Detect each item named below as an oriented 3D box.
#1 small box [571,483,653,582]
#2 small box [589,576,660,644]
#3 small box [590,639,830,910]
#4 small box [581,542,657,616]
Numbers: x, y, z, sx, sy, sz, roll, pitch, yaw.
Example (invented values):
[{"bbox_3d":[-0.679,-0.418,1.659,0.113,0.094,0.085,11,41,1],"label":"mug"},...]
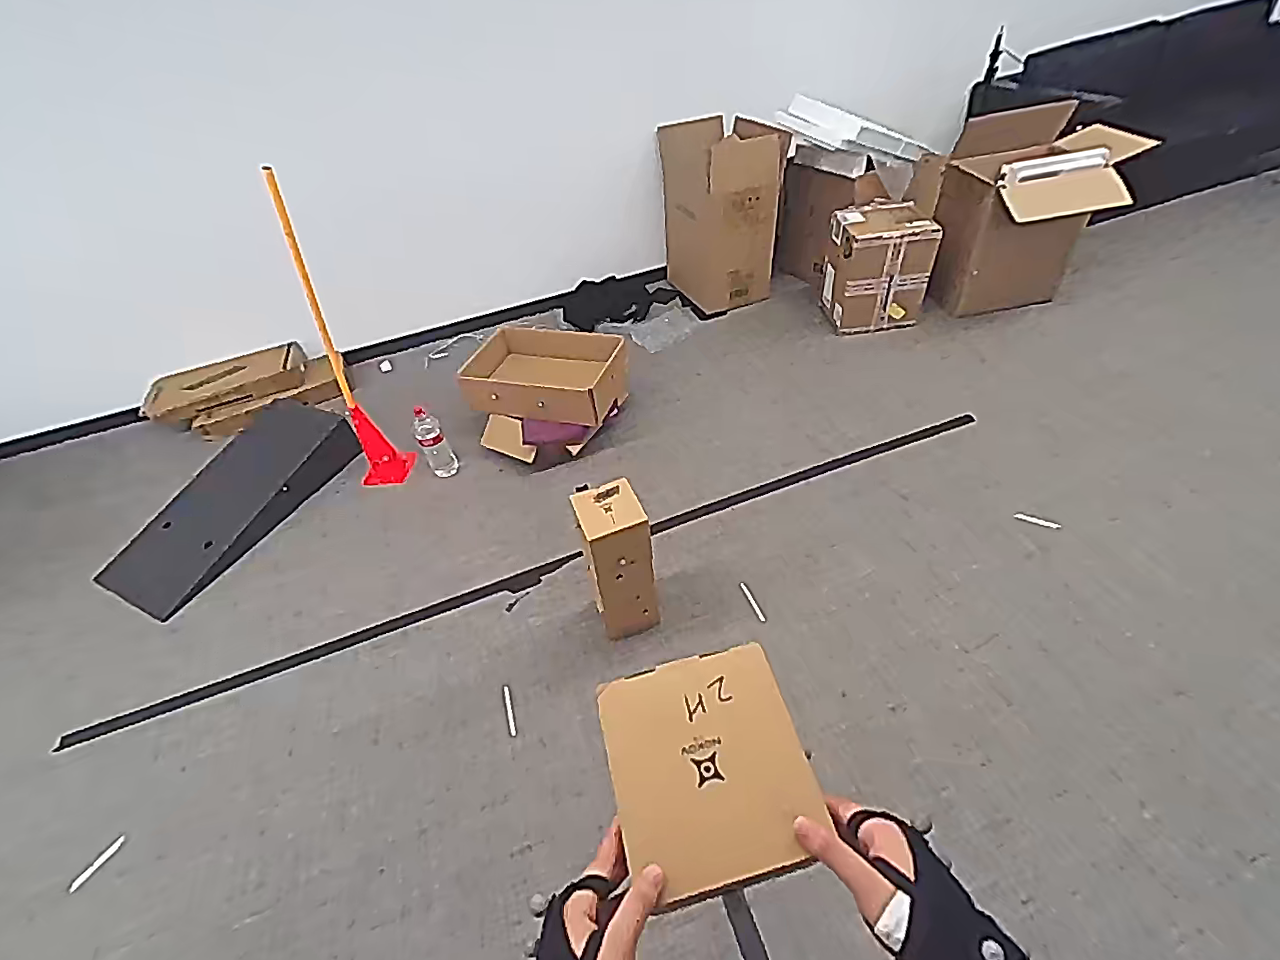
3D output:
[{"bbox_3d":[-0.075,0.143,1.469,0.168,0.176,0.179,-19,45,-11],"label":"small box"},{"bbox_3d":[-0.044,0.380,1.694,0.179,0.176,0.168,-19,44,-9],"label":"small box"},{"bbox_3d":[0.059,0.287,0.525,0.168,0.176,0.179,-15,50,-5],"label":"small box"},{"bbox_3d":[-0.060,0.263,1.581,0.168,0.176,0.179,-20,43,-11],"label":"small box"}]
